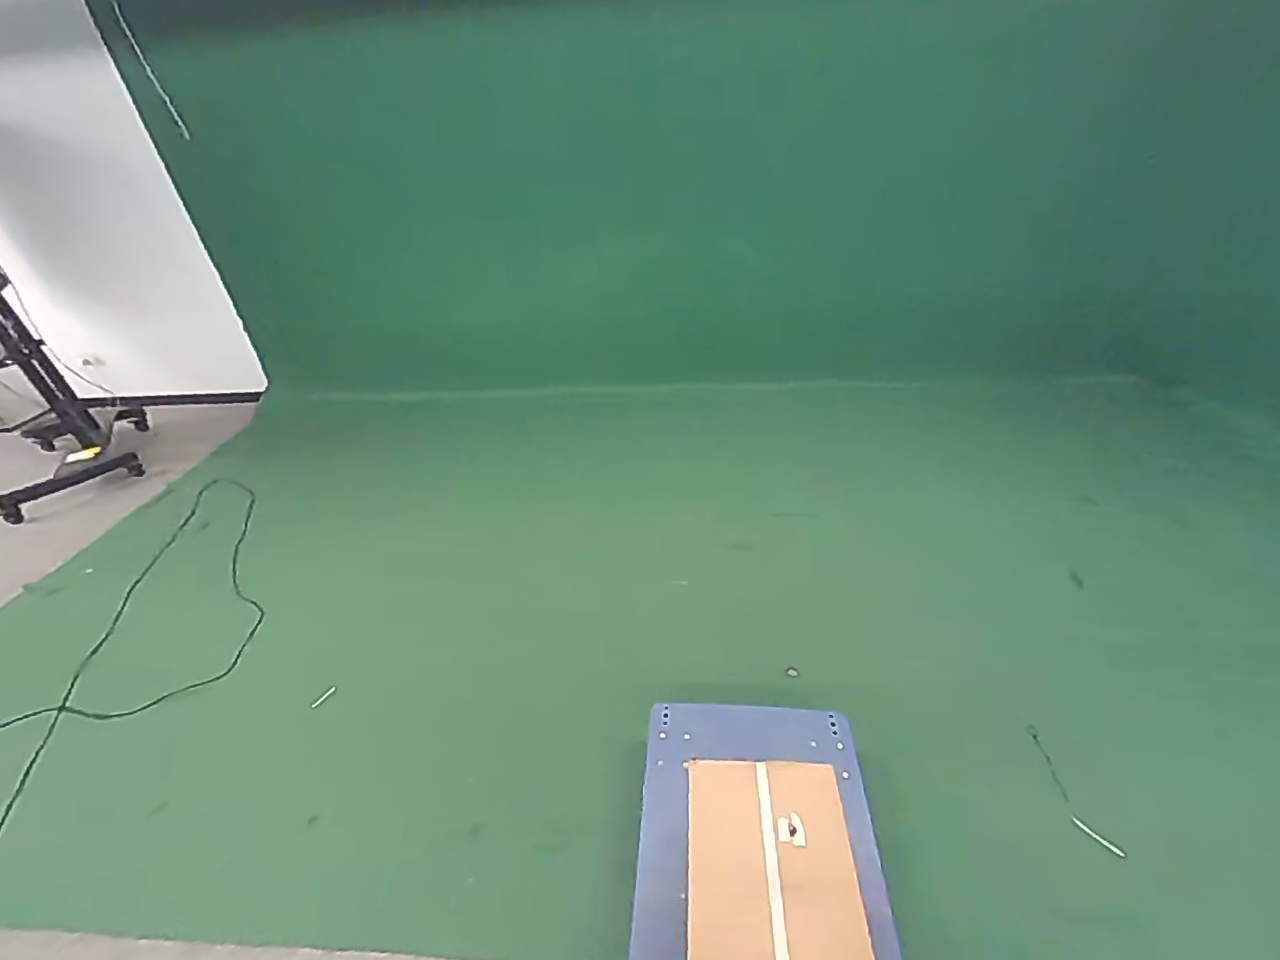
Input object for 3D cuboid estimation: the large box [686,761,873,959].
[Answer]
[{"bbox_3d":[0.258,0.858,1.112,0.320,0.320,0.408,-1,35,6],"label":"large box"}]
